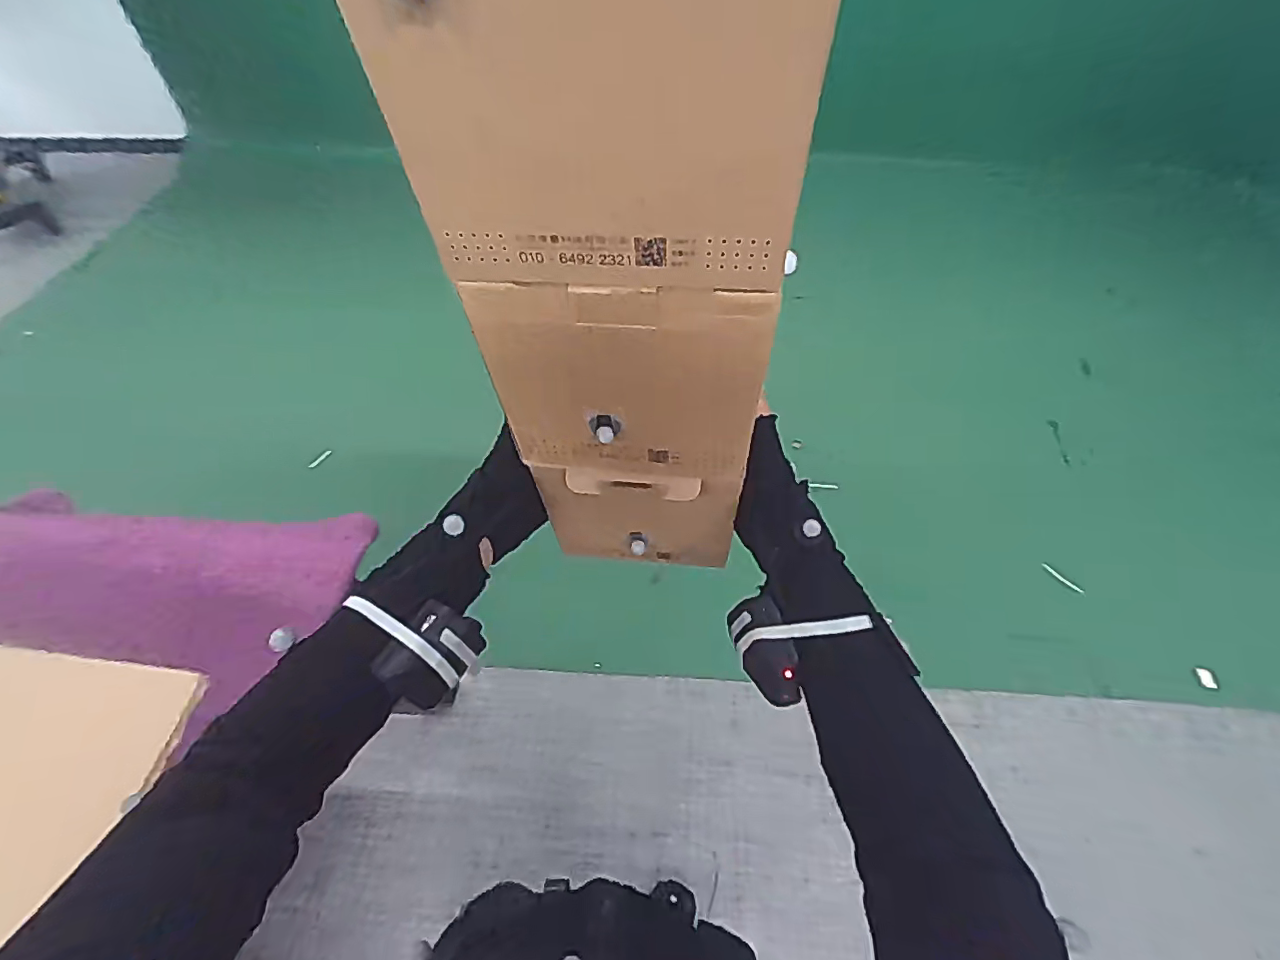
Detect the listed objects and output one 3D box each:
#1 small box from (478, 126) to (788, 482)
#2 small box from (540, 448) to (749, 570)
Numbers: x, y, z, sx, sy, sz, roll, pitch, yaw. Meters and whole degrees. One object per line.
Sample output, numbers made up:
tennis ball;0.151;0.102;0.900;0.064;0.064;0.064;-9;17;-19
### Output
small box;0.007;-0.121;0.388;0.168;0.176;0.179;5;58;6
small box;0.016;-0.033;0.526;0.168;0.176;0.179;5;58;7
